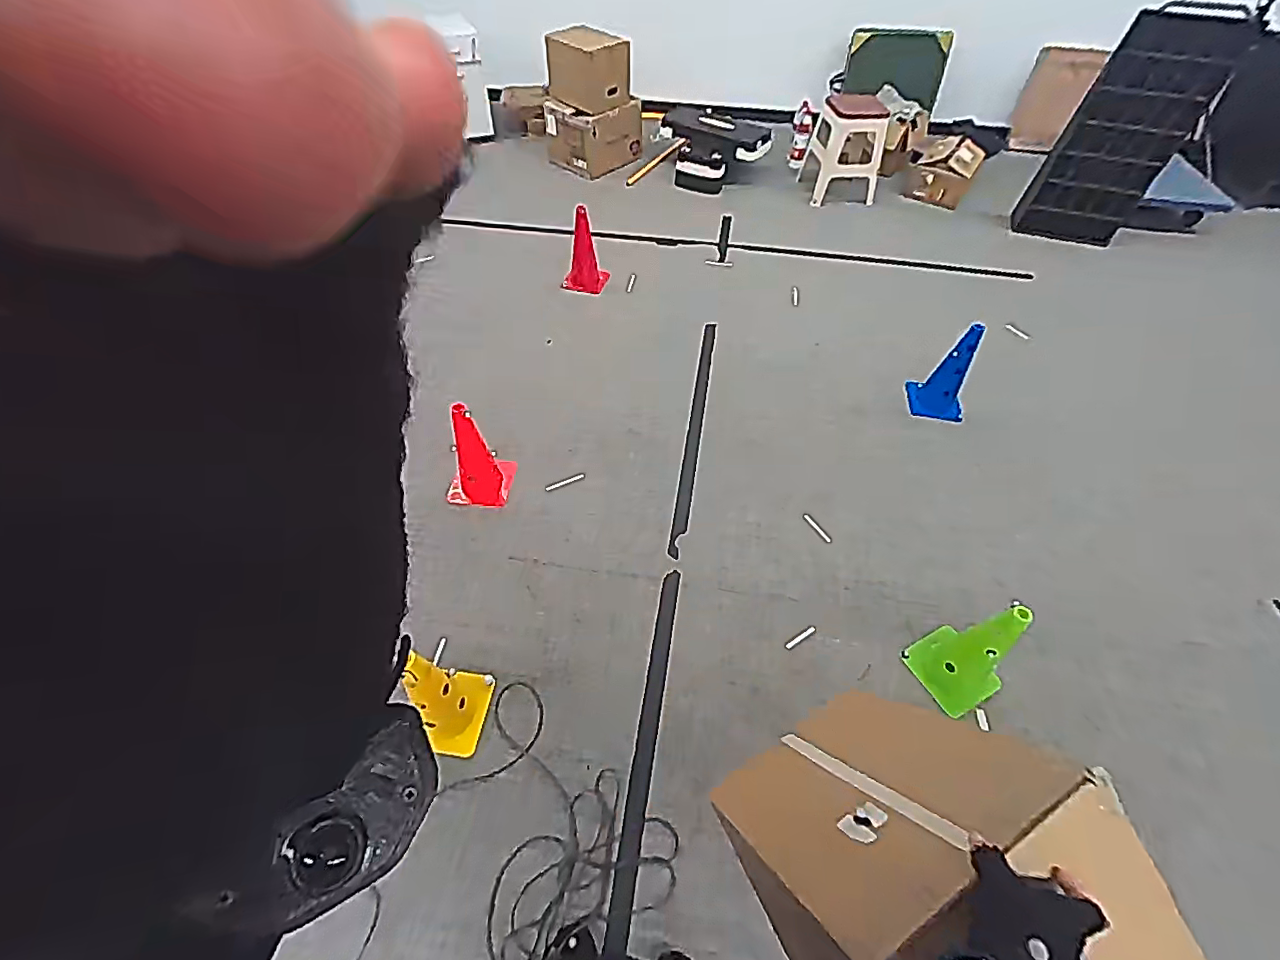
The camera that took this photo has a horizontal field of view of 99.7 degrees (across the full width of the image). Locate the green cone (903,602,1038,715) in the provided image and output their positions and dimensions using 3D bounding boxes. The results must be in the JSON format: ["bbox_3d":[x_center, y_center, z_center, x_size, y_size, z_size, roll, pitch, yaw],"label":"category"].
[{"bbox_3d":[0.863,0.409,1.348,0.202,0.368,0.200,-21,56,-19],"label":"green cone"}]

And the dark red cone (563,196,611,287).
[{"bbox_3d":[-0.251,-1.108,2.508,0.201,0.394,0.202,13,52,8],"label":"dark red cone"}]

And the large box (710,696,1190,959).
[{"bbox_3d":[0.345,0.525,0.674,0.320,0.408,0.320,-25,87,-16],"label":"large box"}]

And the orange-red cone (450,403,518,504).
[{"bbox_3d":[-0.535,-0.106,1.728,0.198,0.360,0.199,6,53,4],"label":"orange-red cone"}]

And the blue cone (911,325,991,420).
[{"bbox_3d":[1.198,-0.419,2.043,0.192,0.380,0.193,11,52,6],"label":"blue cone"}]
